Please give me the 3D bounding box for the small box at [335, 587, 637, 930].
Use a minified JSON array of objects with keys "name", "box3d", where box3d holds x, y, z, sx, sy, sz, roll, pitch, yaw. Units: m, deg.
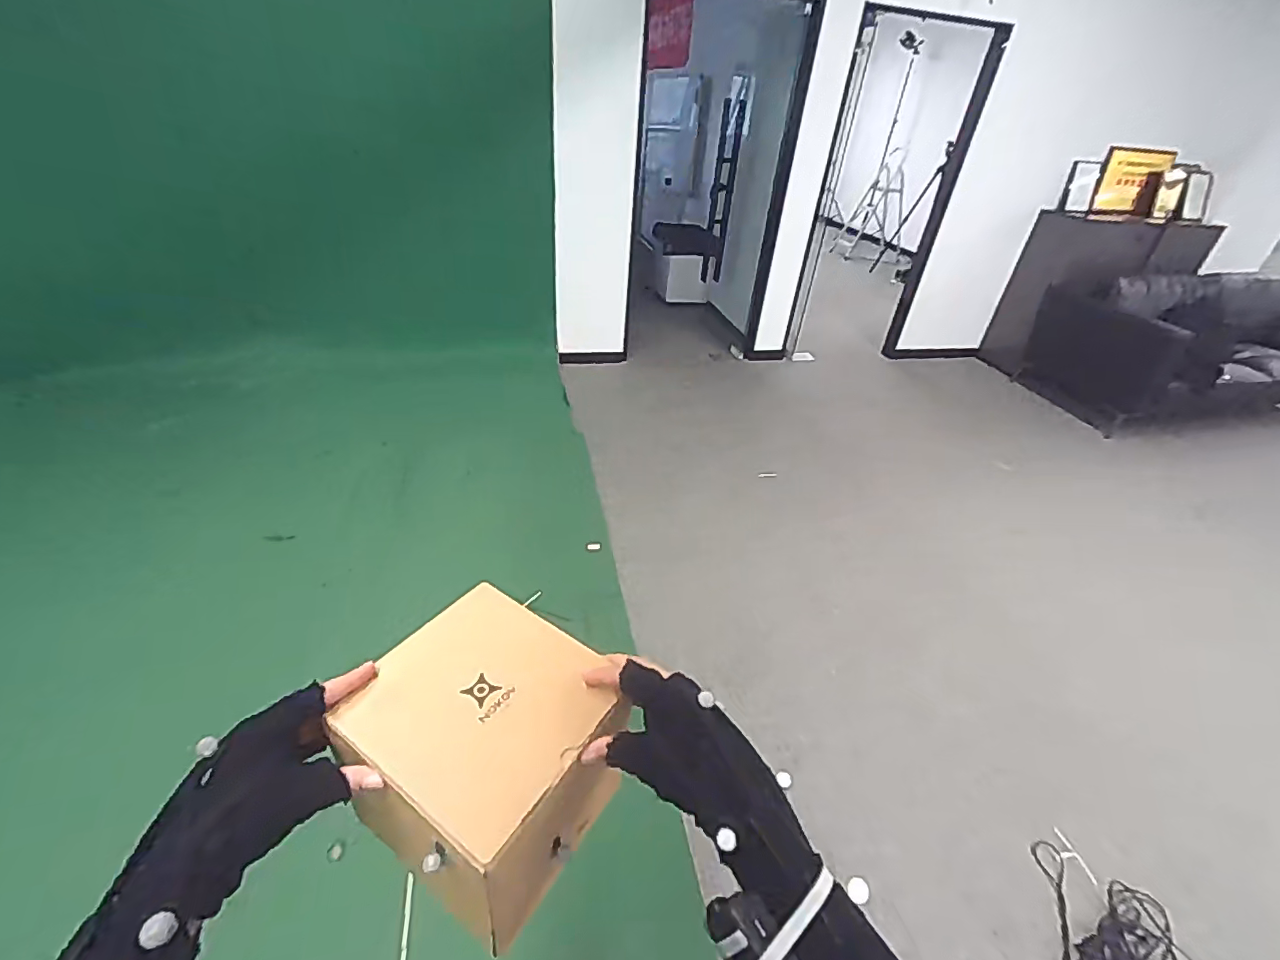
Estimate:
[{"name":"small box","box3d":[-0.127,0.235,0.472,0.179,0.176,0.168,26,38,23]}]
